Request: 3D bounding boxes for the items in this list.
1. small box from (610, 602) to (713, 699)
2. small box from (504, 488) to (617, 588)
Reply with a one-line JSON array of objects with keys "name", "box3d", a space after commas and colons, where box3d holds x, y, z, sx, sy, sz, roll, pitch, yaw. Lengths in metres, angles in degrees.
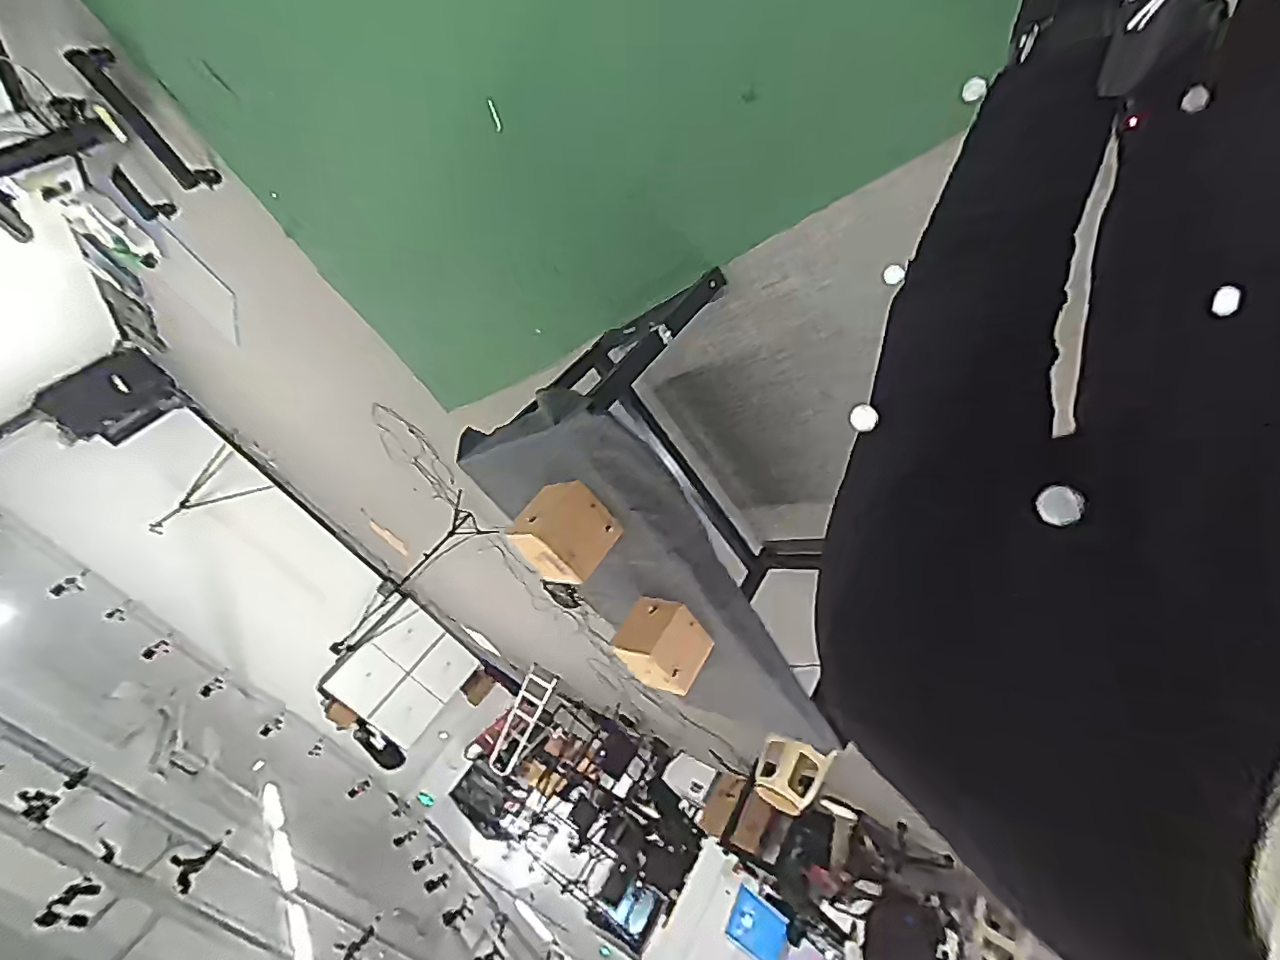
[{"name": "small box", "box3d": [0.060, 0.441, 1.427, 0.179, 0.176, 0.168, -8, 126, 52]}, {"name": "small box", "box3d": [-0.178, 0.132, 1.267, 0.179, 0.176, 0.168, -7, 127, 53]}]
